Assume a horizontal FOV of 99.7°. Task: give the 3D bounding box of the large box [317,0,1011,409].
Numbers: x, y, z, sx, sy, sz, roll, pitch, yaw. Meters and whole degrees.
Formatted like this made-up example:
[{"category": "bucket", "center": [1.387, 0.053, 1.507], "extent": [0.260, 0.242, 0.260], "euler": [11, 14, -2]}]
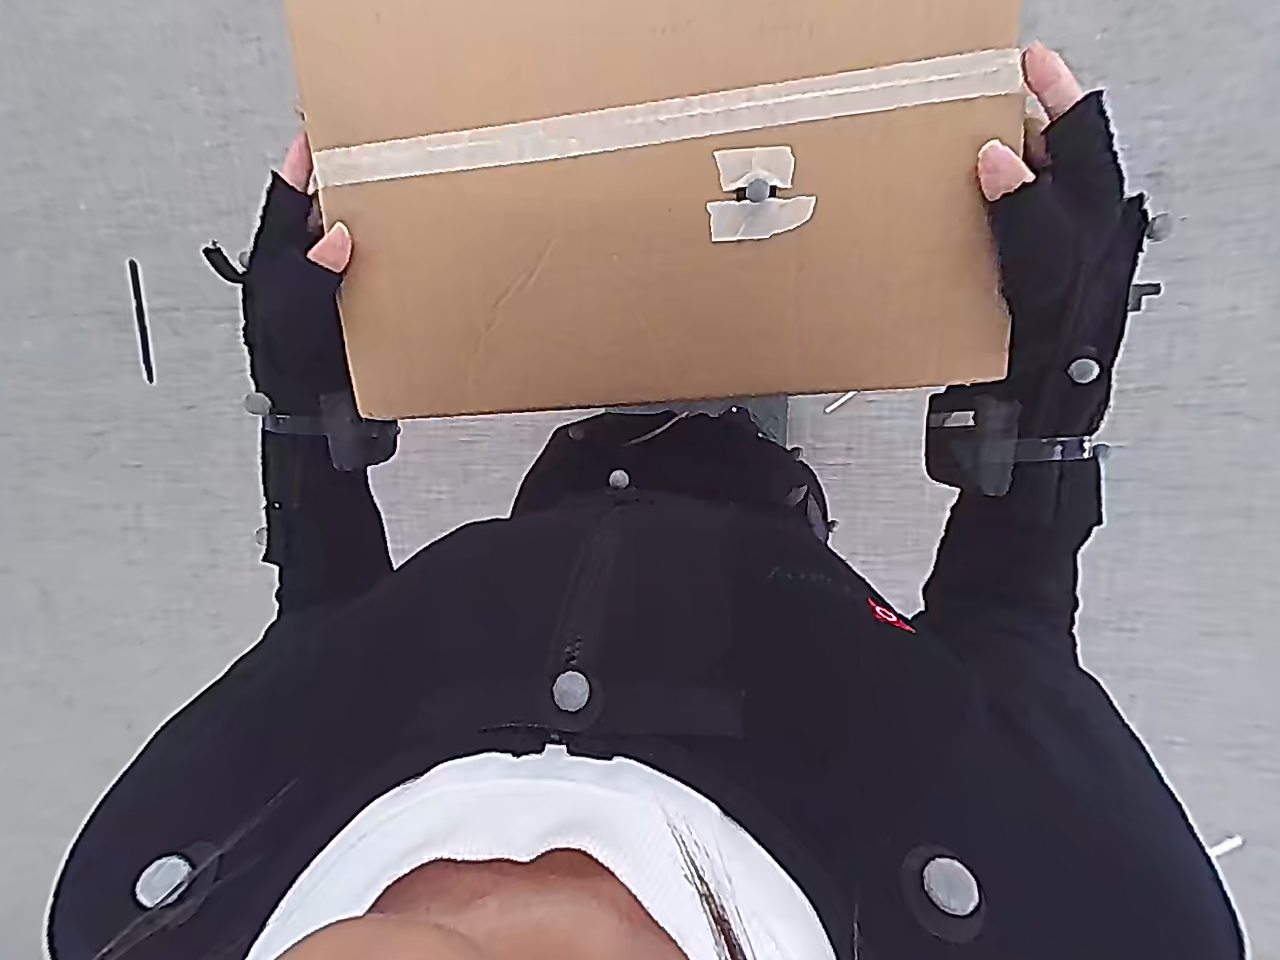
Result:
[{"category": "large box", "center": [0.021, -0.240, 0.467], "extent": [0.408, 0.320, 0.320], "euler": [-3, 101, 8]}]
